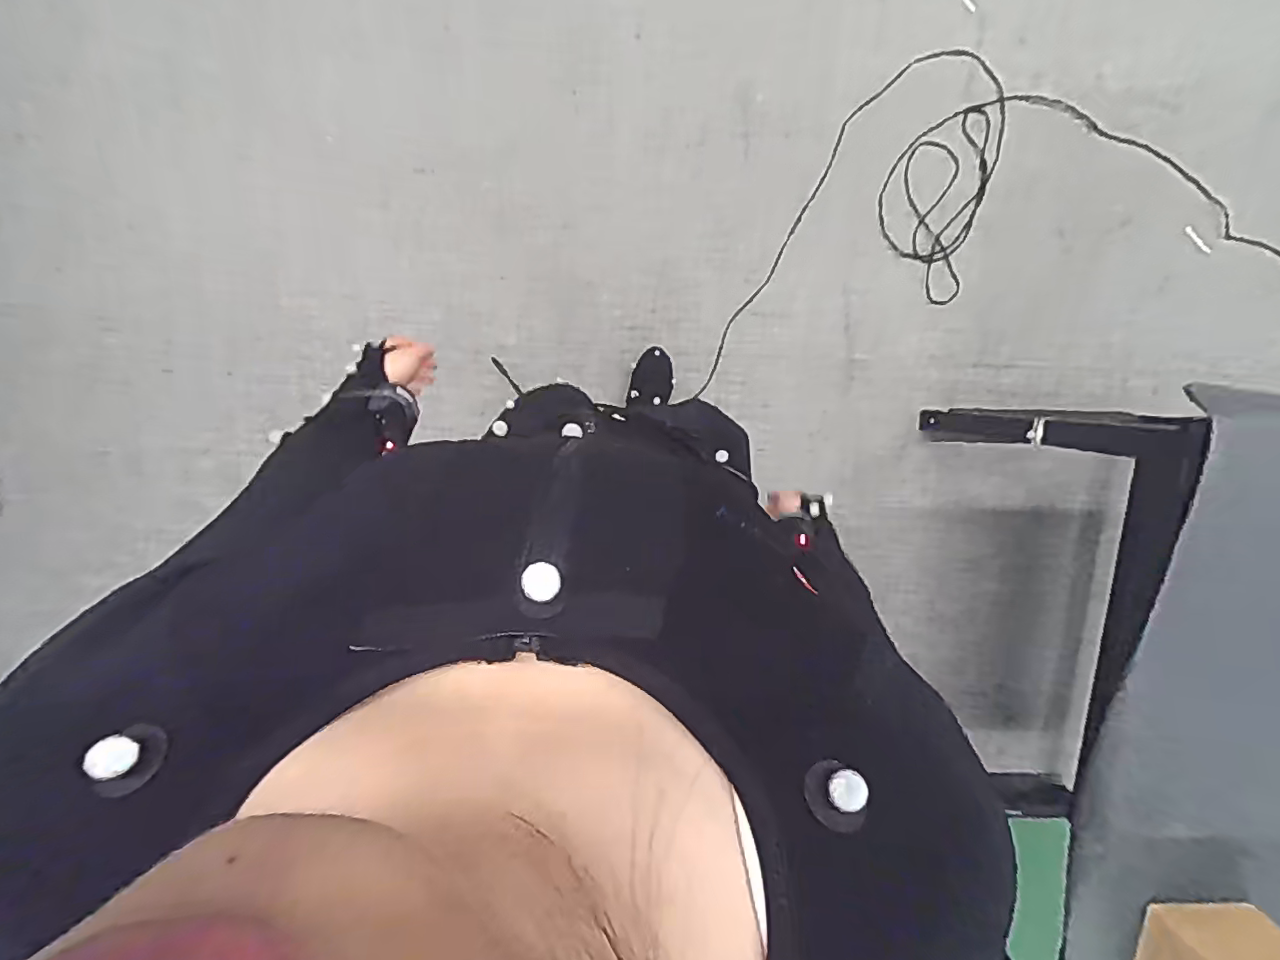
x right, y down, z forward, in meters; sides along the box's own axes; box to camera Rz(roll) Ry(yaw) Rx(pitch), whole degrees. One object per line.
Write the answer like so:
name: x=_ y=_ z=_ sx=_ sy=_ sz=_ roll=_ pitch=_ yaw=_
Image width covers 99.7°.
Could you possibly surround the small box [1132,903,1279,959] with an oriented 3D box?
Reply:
small box: x=0.877 y=0.763 z=0.792 sx=0.179 sy=0.176 sz=0.168 roll=2 pitch=99 yaw=-3
